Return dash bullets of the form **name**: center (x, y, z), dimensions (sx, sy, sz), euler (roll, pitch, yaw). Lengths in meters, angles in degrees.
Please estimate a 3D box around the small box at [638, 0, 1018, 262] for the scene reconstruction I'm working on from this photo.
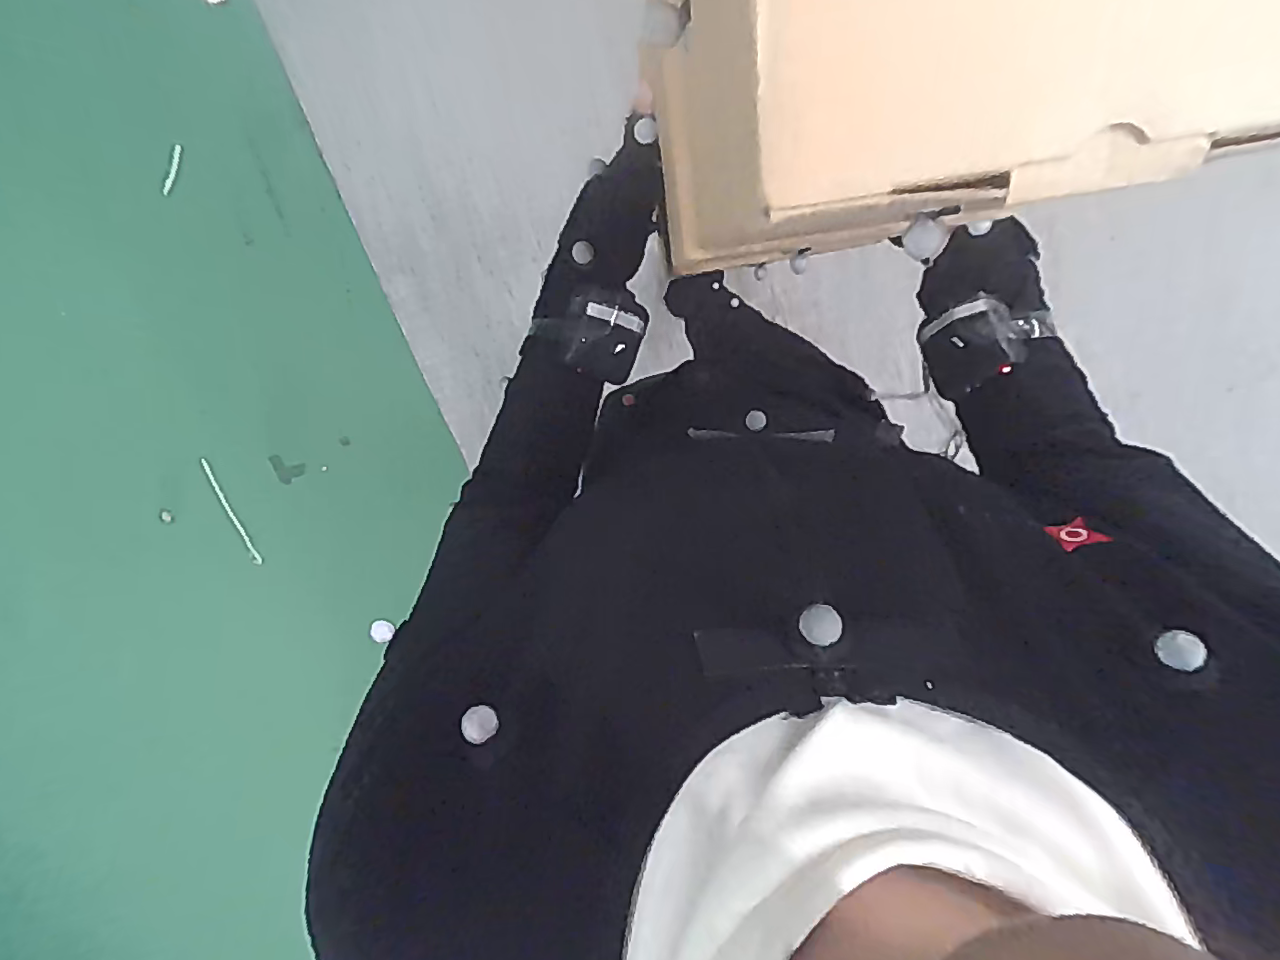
- **small box**: center (0.098, -0.237, 0.333), dimensions (0.179, 0.176, 0.168), euler (-10, 110, 4)

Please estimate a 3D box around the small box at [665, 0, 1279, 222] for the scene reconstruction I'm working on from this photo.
- **small box**: center (0.094, -0.189, 0.177), dimensions (0.168, 0.176, 0.179), euler (-7, 112, 3)
